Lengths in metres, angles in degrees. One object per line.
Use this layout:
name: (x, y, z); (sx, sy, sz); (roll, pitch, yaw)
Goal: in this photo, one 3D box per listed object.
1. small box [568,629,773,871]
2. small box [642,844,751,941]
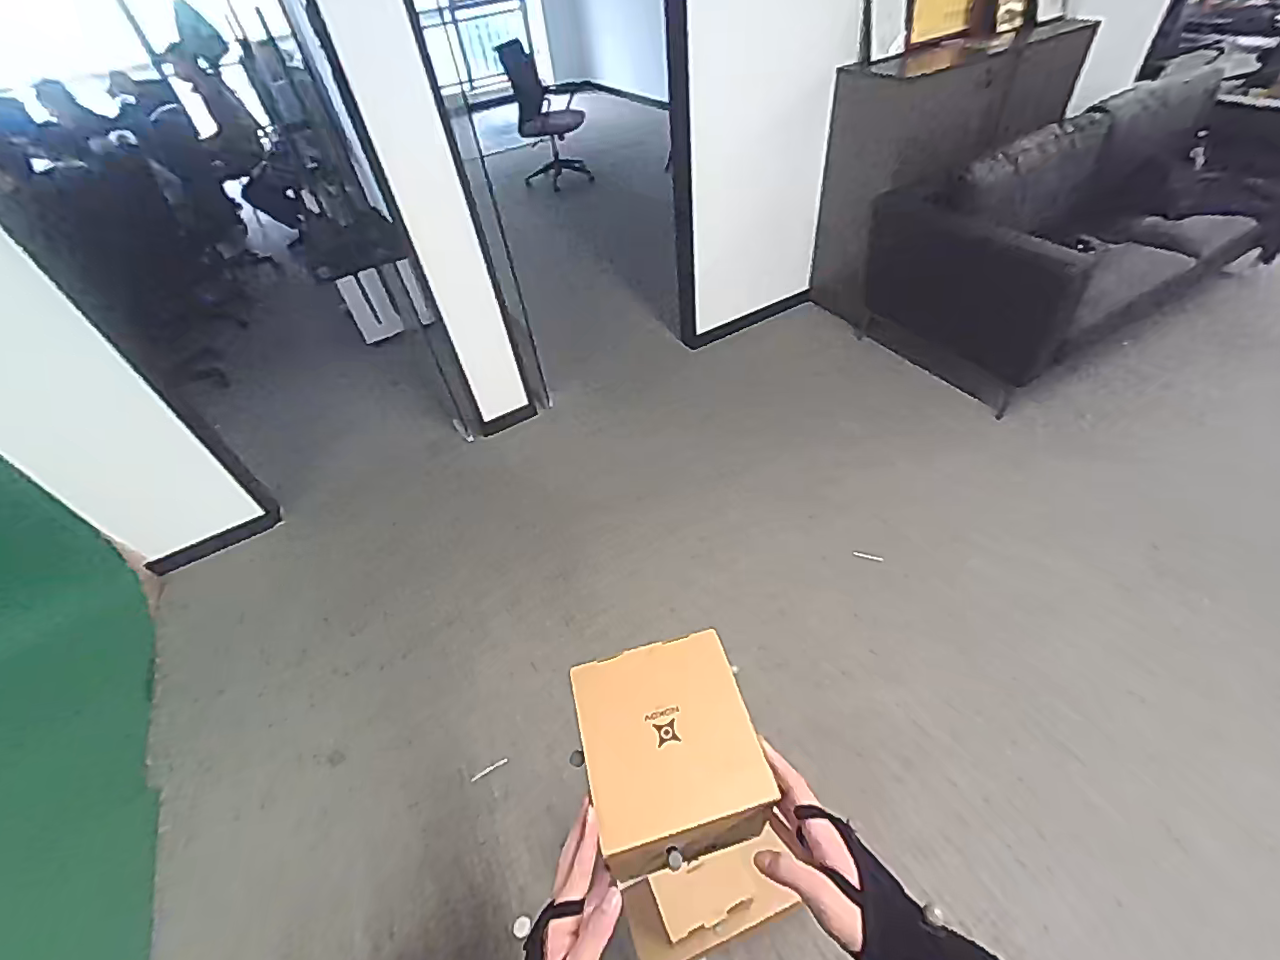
small box: (0.028, 0.295, 0.583); (0.168, 0.176, 0.179); (-13, 46, -8)
small box: (0.093, 0.732, 1.025); (0.168, 0.176, 0.179); (-21, 49, -13)
